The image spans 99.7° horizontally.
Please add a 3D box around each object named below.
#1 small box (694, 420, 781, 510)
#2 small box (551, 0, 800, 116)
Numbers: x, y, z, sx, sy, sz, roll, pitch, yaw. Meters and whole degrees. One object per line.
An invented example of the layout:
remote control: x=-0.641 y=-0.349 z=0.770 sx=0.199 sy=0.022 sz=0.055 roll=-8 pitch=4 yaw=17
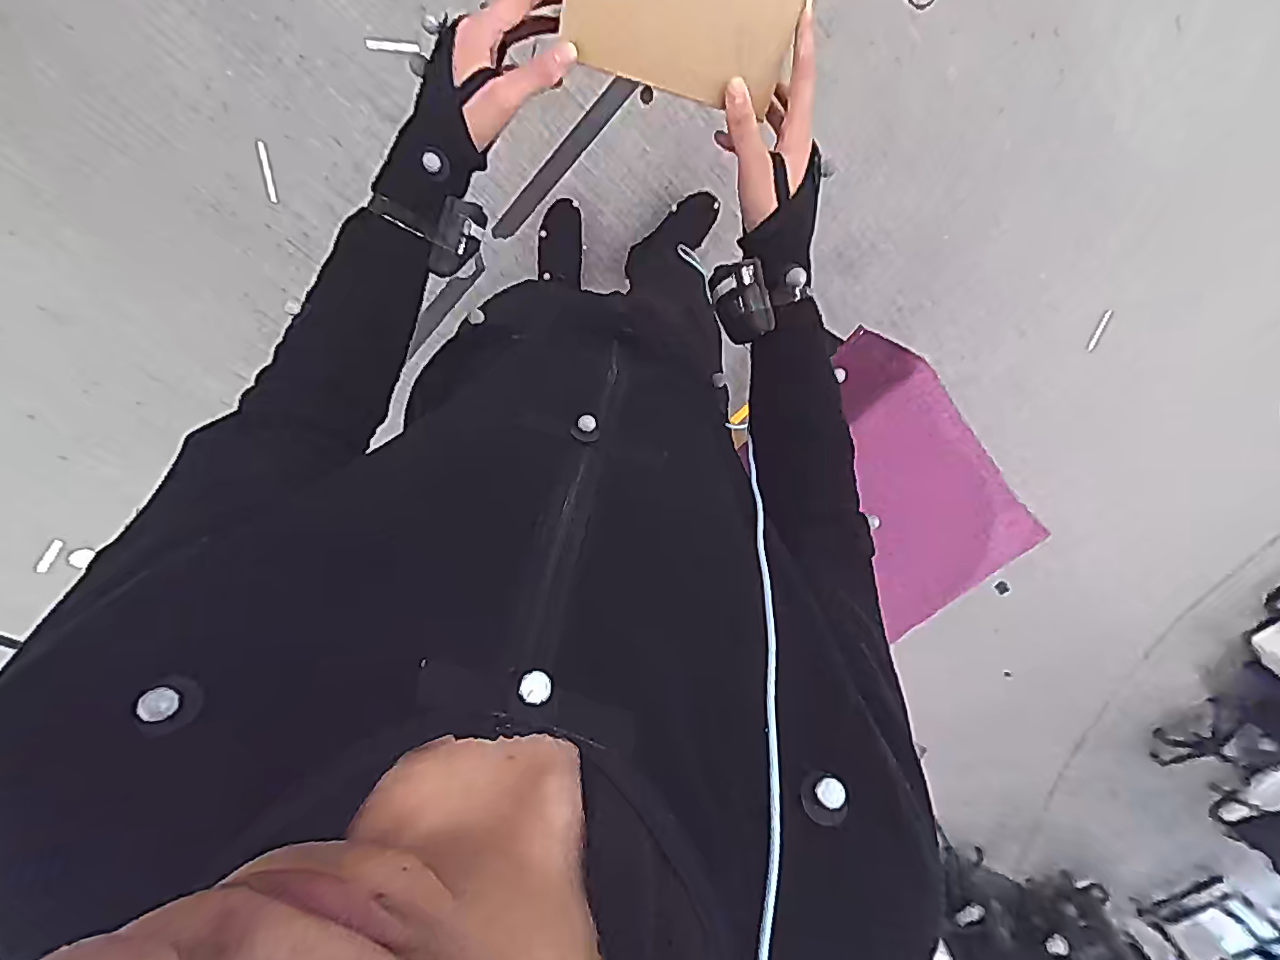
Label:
small box: x=0.286 y=-0.050 z=1.628 sx=0.168 sy=0.176 sz=0.179 roll=35 pitch=112 yaw=-29
small box: x=0.034 y=-0.407 z=0.407 sx=0.168 sy=0.176 sz=0.179 roll=9 pitch=128 yaw=-11
